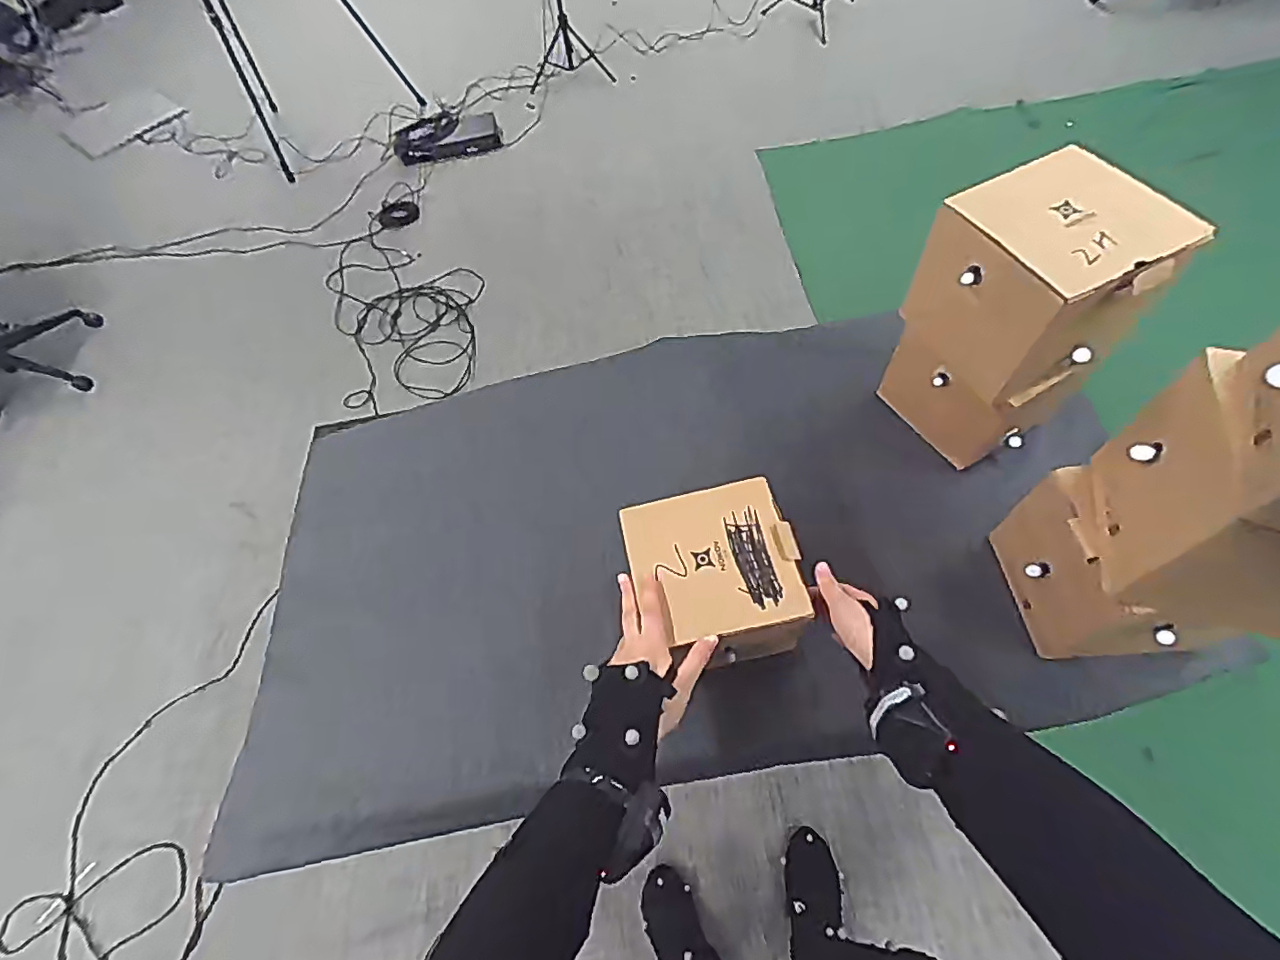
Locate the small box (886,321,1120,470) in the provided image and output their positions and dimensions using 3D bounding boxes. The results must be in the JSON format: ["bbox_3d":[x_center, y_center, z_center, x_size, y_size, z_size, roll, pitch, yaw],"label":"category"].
[{"bbox_3d":[0.476,-0.145,0.747,0.168,0.176,0.179,-31,63,-7],"label":"small box"}]

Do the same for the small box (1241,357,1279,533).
[{"bbox_3d":[0.513,-0.042,0.300,0.179,0.176,0.168,22,63,20],"label":"small box"}]

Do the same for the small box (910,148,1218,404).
[{"bbox_3d":[0.439,-0.219,0.603,0.168,0.176,0.179,-25,62,-3],"label":"small box"}]

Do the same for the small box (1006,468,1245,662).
[{"bbox_3d":[0.544,0.096,0.599,0.179,0.176,0.168,-6,58,5],"label":"small box"}]

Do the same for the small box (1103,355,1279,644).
[{"bbox_3d":[0.531,0.024,0.452,0.179,0.176,0.168,13,61,15],"label":"small box"}]
